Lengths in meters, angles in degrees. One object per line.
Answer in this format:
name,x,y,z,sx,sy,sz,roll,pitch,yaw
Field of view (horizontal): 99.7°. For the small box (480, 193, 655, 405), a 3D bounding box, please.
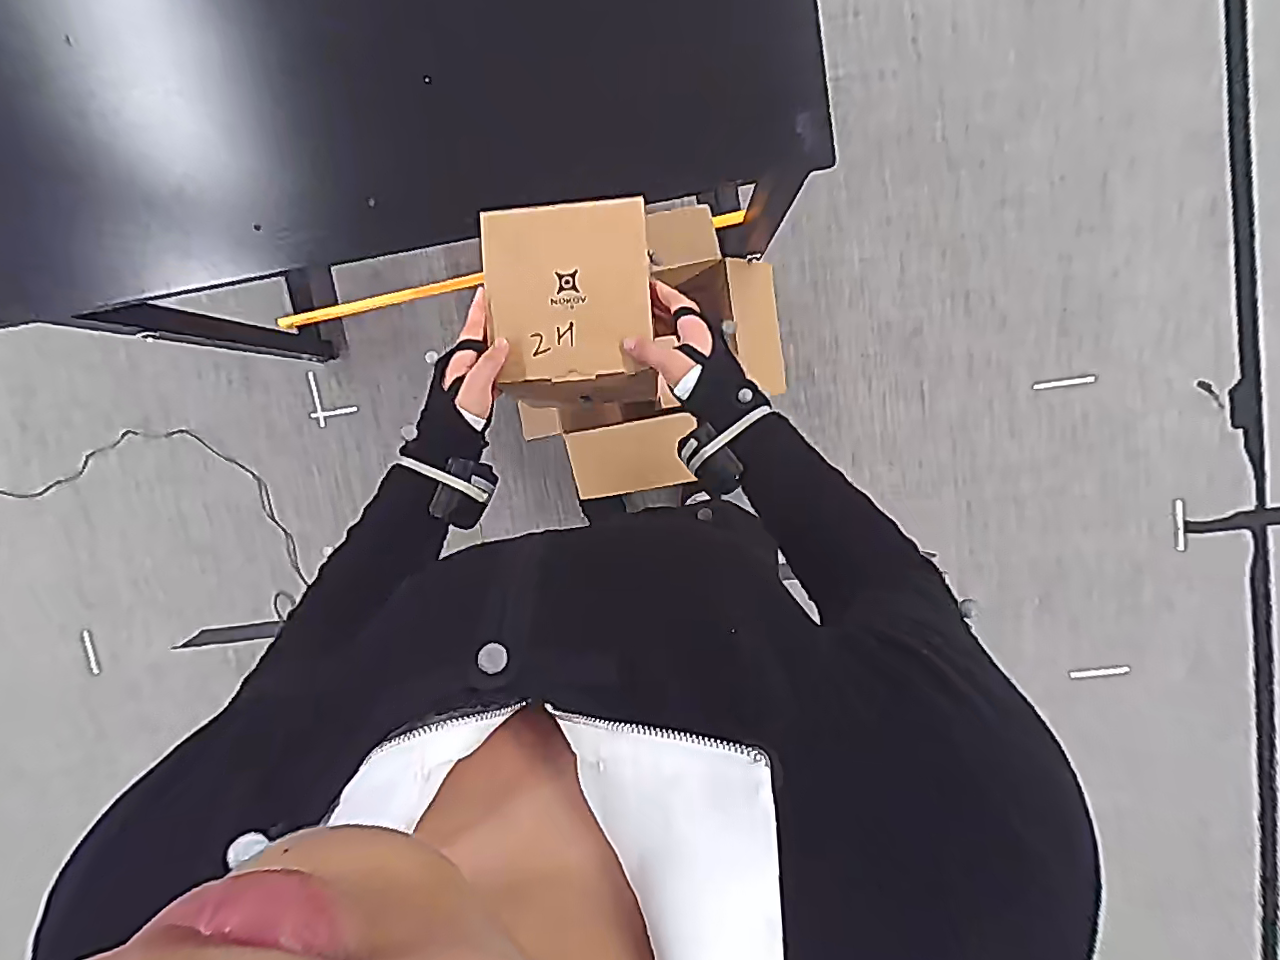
small box,-0.070,-0.188,0.608,0.168,0.176,0.179,-4,89,3
